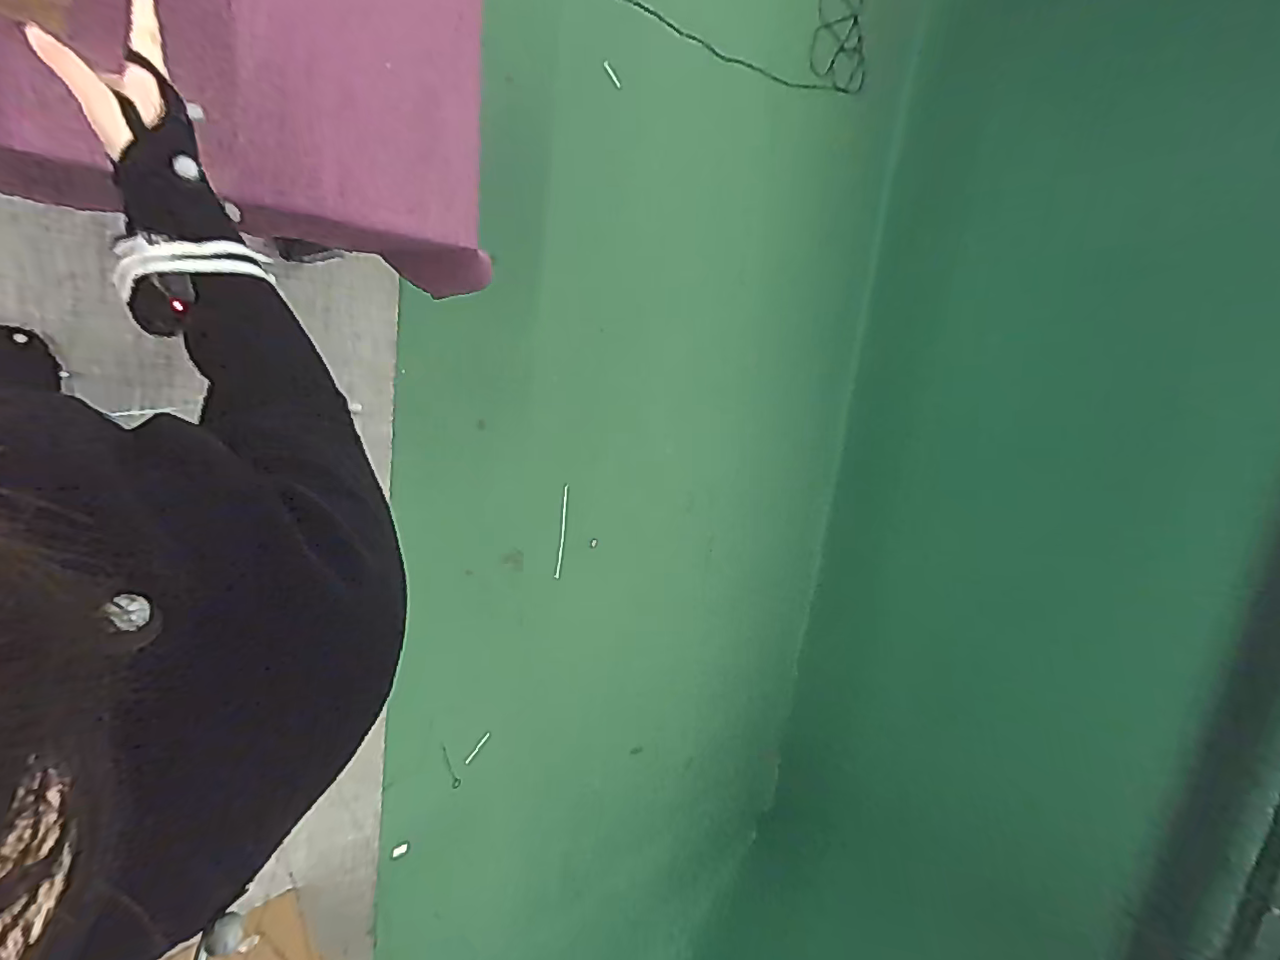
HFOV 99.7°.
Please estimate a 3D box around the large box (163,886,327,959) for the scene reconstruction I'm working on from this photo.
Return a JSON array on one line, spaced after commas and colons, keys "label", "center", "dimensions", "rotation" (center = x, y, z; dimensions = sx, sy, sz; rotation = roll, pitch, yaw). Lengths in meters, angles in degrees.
[{"label": "large box", "center": [-1.031, 1.419, 1.421], "dimensions": [0.320, 0.320, 0.408], "rotation": [-7, 109, -47]}]
